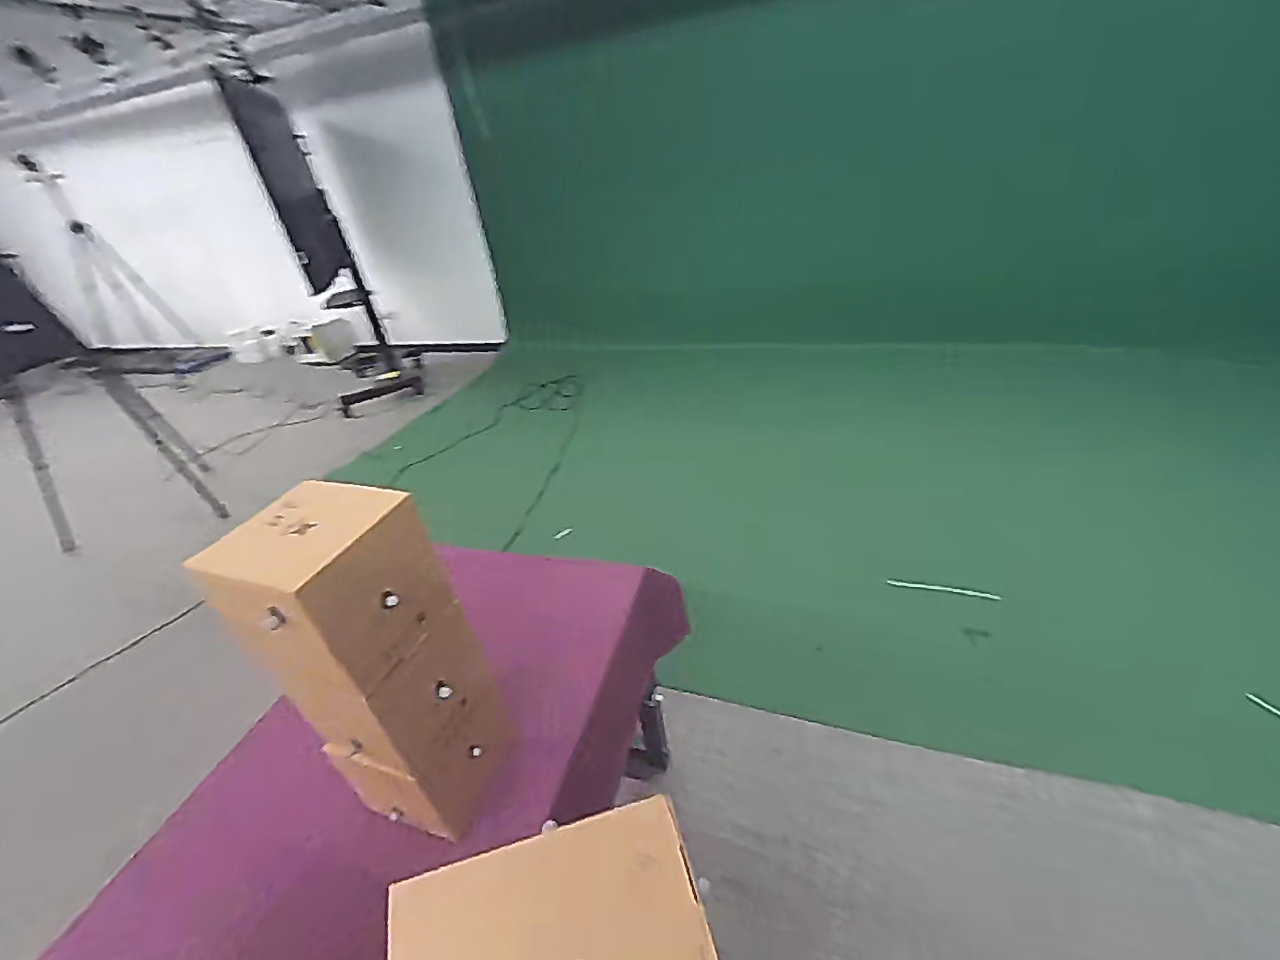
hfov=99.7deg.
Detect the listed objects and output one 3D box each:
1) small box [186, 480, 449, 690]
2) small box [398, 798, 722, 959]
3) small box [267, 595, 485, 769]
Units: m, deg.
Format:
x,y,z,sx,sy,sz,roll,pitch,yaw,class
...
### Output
x,y,z,sx,sy,sz,roll,pitch,yaw,class
-0.361,0.120,0.641,0.179,0.176,0.168,5,35,22,small box
-0.037,0.331,0.340,0.179,0.176,0.168,-12,46,-8,small box
-0.340,0.257,0.733,0.179,0.176,0.168,7,36,22,small box
